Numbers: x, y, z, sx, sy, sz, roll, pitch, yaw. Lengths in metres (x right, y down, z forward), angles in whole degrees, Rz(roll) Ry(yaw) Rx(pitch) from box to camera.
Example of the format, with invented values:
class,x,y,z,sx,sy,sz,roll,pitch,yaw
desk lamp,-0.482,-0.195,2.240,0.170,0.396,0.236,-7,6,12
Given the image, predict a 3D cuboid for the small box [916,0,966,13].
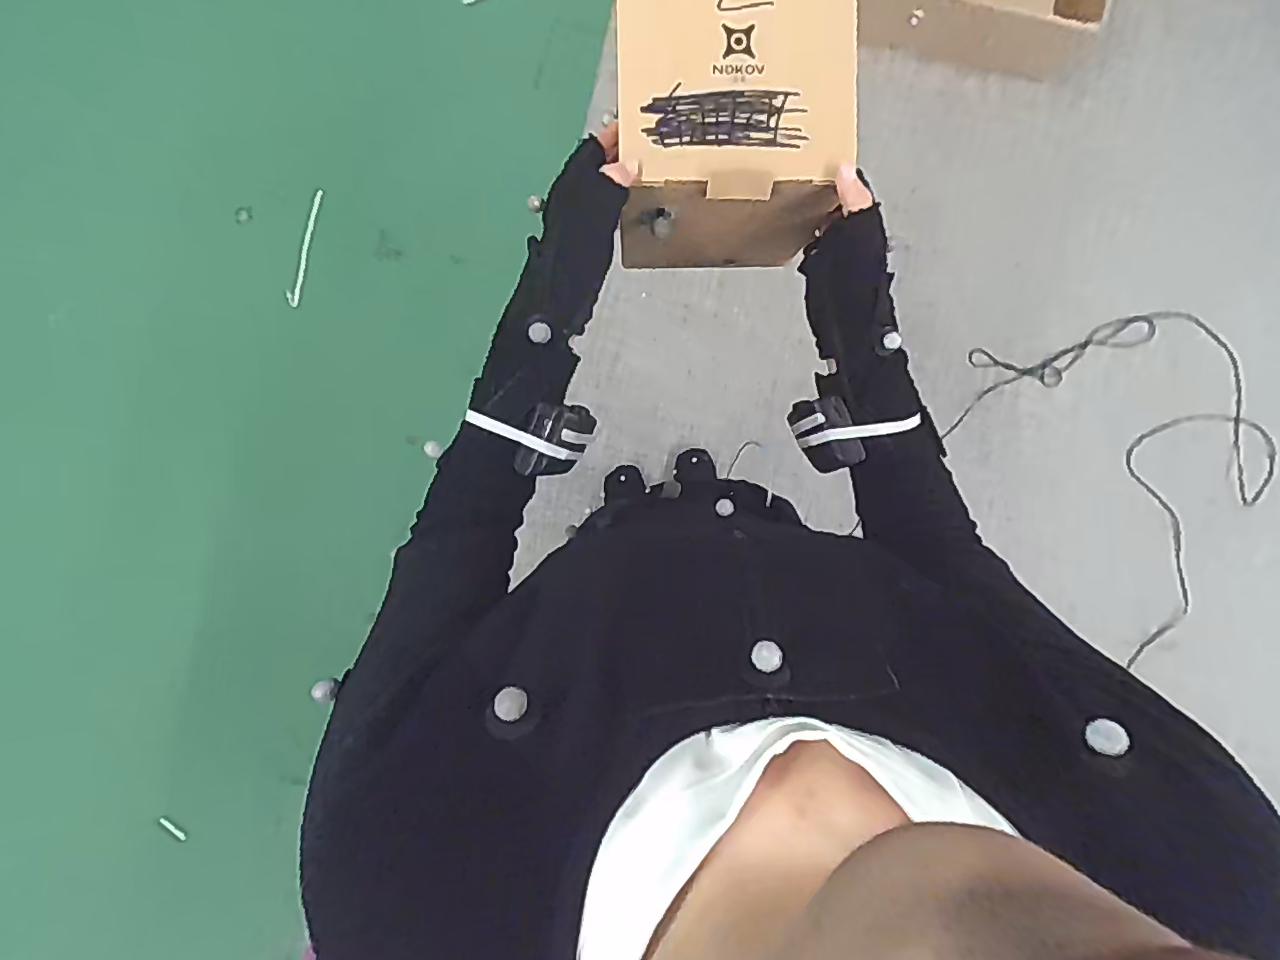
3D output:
class,x,y,z,sx,sy,sz,roll,pitch,yaw
small box,0.779,-1.325,1.332,0.168,0.176,0.179,15,90,-3
